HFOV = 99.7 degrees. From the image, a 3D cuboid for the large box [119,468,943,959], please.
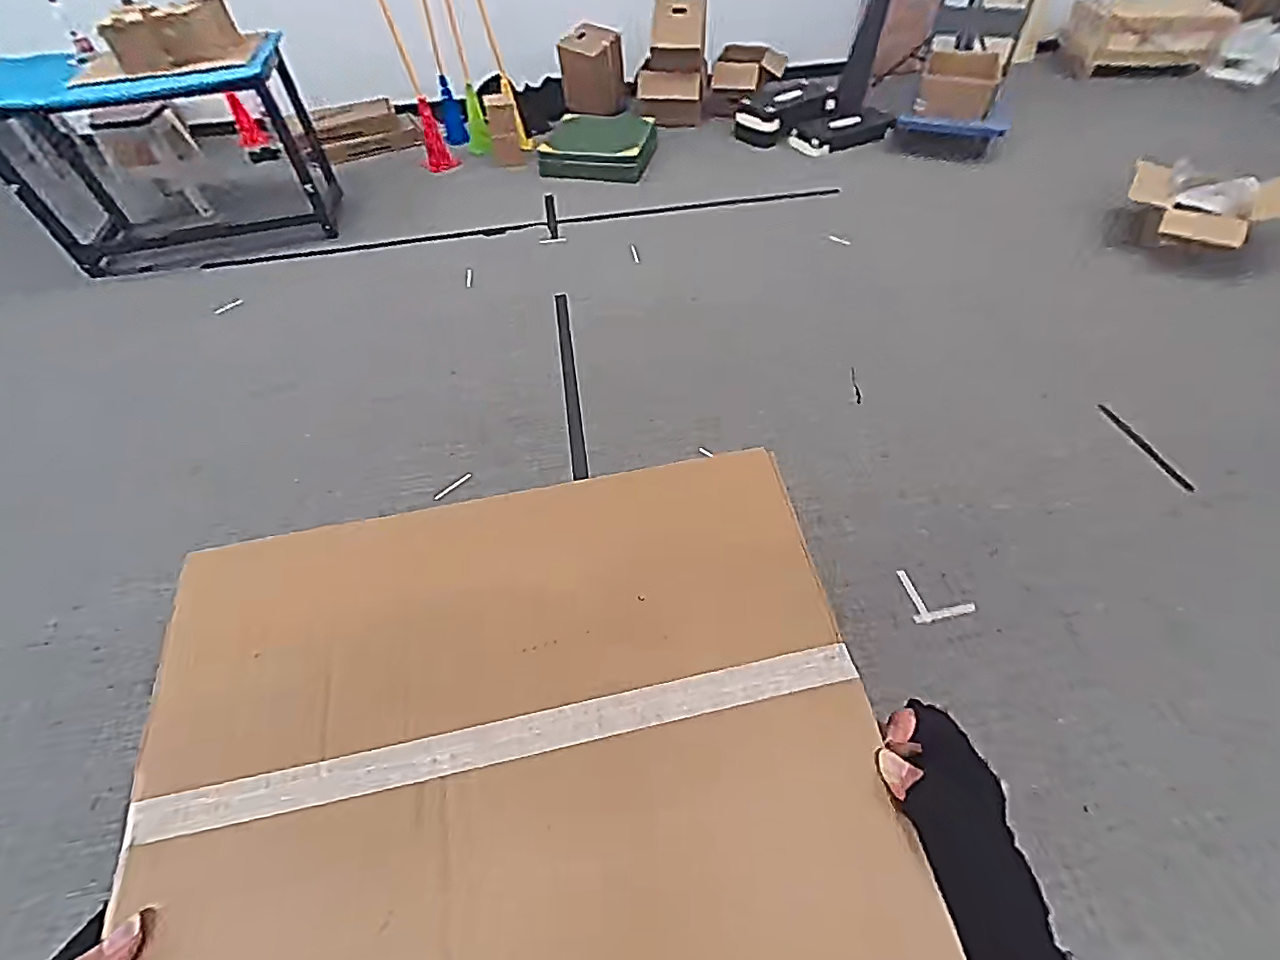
[{"bbox_3d":[-0.070,0.229,0.442,0.408,0.320,0.320,-11,61,-5],"label":"large box"}]
